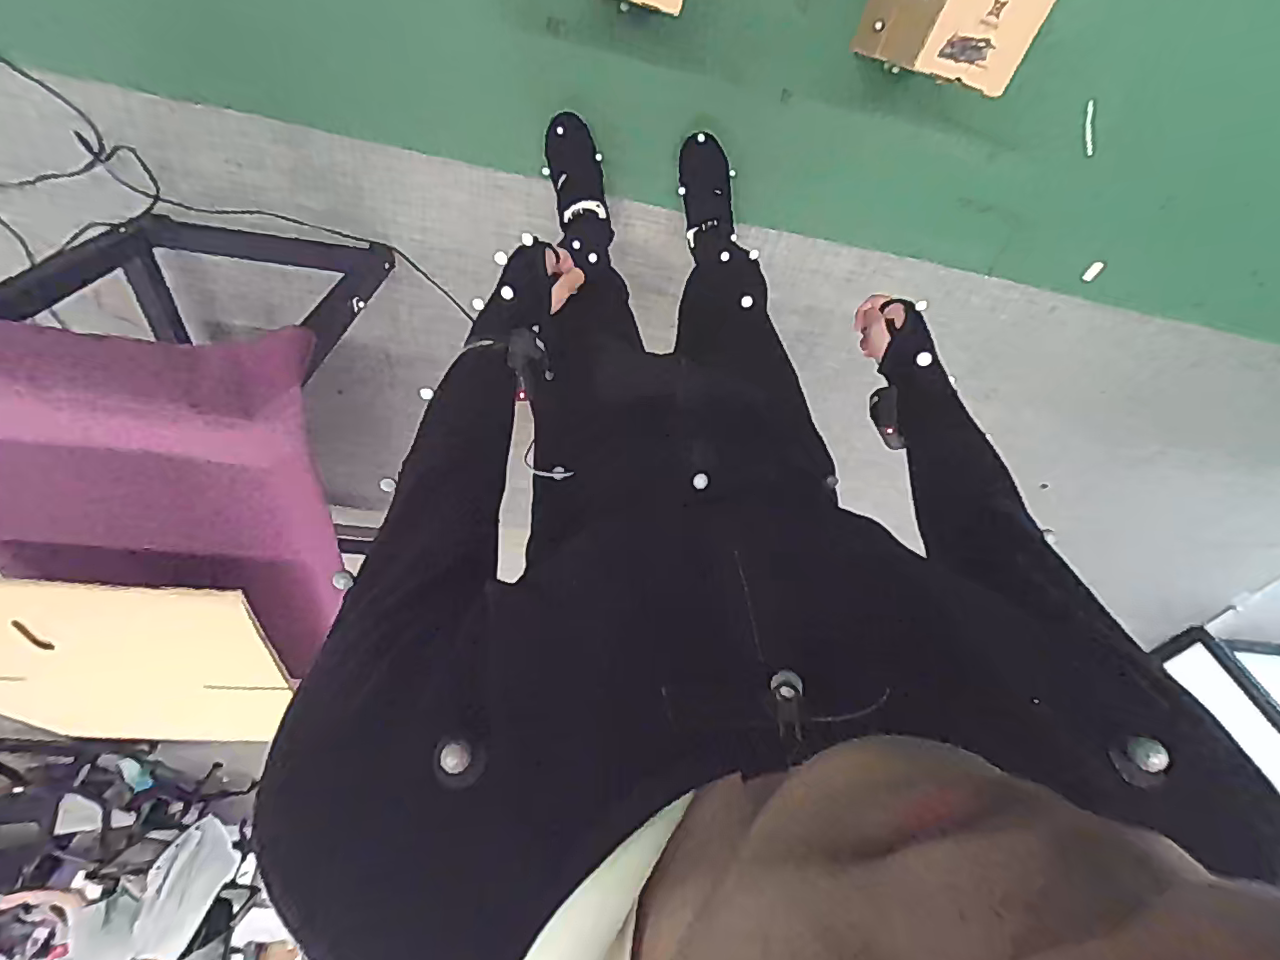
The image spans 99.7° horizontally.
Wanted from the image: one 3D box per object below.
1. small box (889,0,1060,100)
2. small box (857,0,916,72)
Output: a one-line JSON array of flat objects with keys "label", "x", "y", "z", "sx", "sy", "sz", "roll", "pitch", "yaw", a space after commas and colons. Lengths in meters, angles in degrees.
[{"label": "small box", "x": 0.535, "y": -0.756, "z": 0.877, "sx": 0.168, "sy": 0.176, "sz": 0.179, "roll": 9, "pitch": 132, "yaw": -11}, {"label": "small box", "x": 0.531, "y": -0.868, "z": 0.996, "sx": 0.168, "sy": 0.176, "sz": 0.179, "roll": 8, "pitch": 133, "yaw": -10}]
